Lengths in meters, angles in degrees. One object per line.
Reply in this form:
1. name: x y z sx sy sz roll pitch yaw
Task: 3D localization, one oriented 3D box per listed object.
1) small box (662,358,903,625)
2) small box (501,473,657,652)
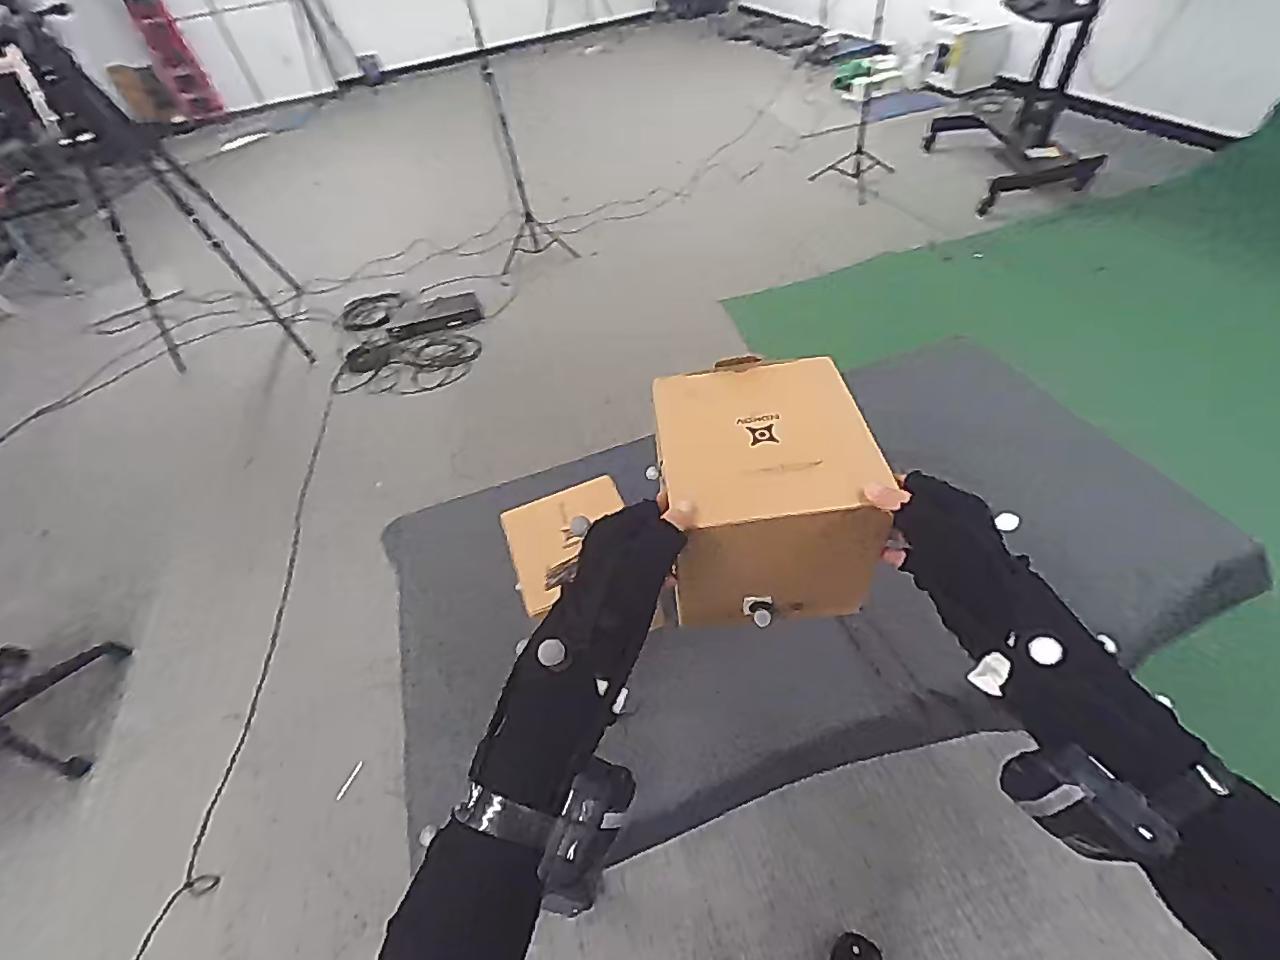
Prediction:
1. small box: 0.108 0.012 0.499 0.168 0.176 0.179 -5 48 2
2. small box: -0.083 0.126 0.785 0.168 0.176 0.179 -20 48 -10
